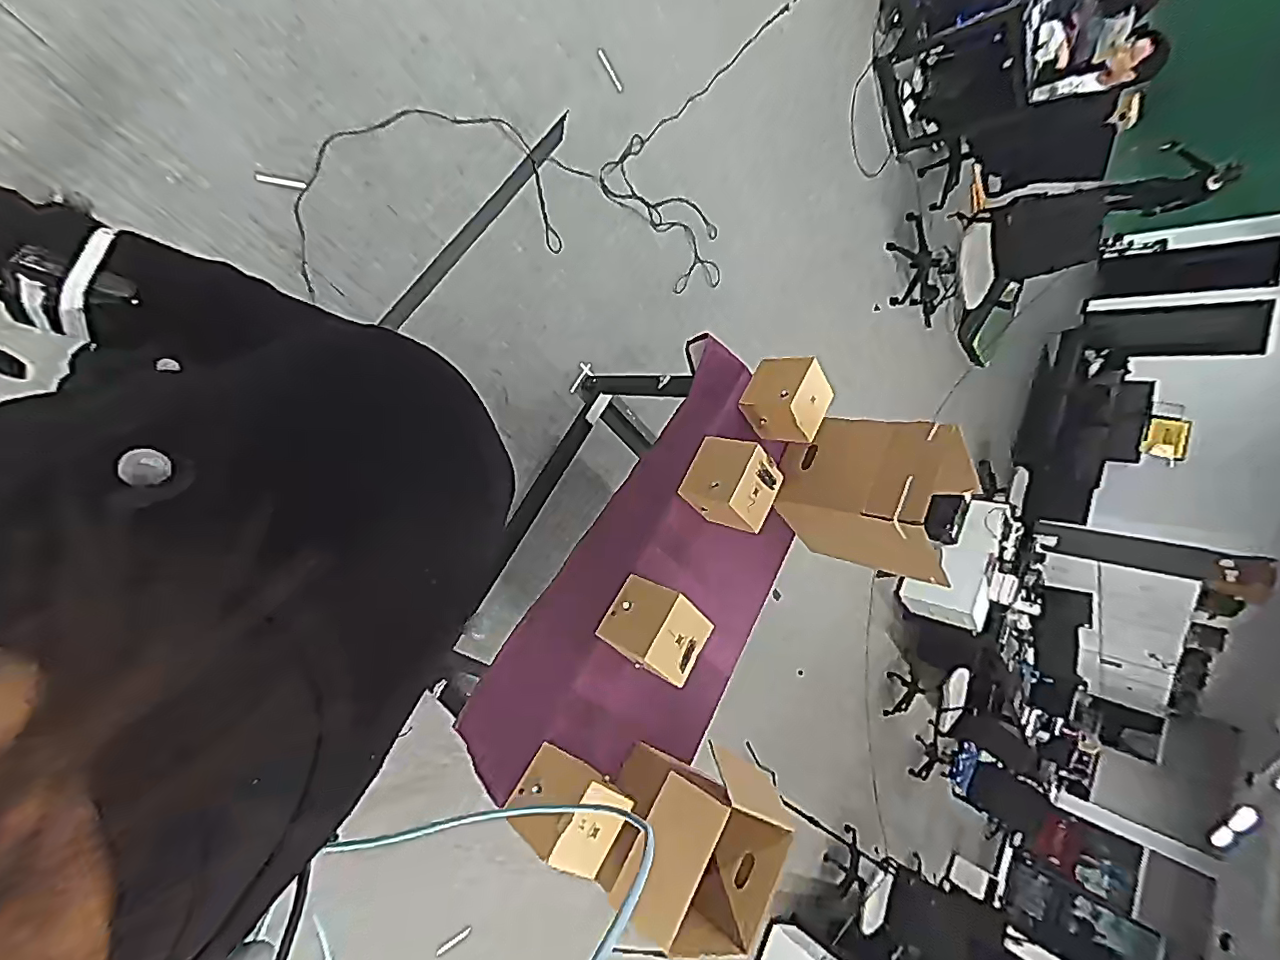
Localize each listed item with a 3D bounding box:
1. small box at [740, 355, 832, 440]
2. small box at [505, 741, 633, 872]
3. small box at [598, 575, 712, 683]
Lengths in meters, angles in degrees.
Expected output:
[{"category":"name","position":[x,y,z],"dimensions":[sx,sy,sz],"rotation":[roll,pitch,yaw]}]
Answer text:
[{"category":"small box","position":[0.411,-0.238,1.531],"dimensions":[0.168,0.176,0.179],"rotation":[44,69,-41]},{"category":"small box","position":[-0.153,0.698,1.169],"dimensions":[0.168,0.176,0.179],"rotation":[-56,131,-22]},{"category":"small box","position":[0.036,0.346,1.285],"dimensions":[0.179,0.176,0.168],"rotation":[49,64,-38]}]
